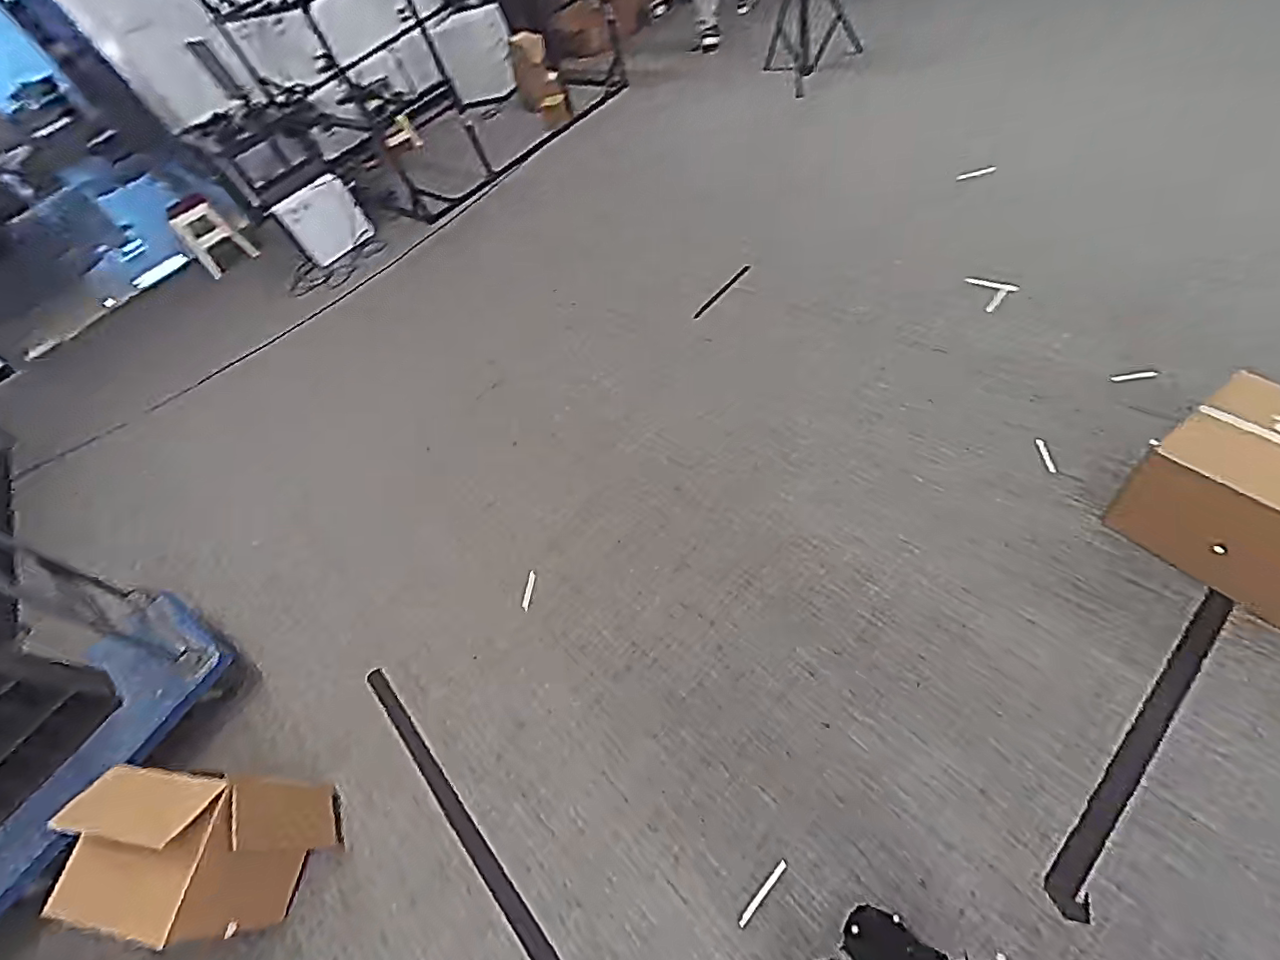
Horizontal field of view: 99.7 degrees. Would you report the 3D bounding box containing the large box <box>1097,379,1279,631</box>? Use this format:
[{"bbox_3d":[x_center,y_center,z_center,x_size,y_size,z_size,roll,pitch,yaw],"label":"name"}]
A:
[{"bbox_3d":[1.351,0.055,1.177,0.320,0.320,0.408,-35,49,-9],"label":"large box"}]
